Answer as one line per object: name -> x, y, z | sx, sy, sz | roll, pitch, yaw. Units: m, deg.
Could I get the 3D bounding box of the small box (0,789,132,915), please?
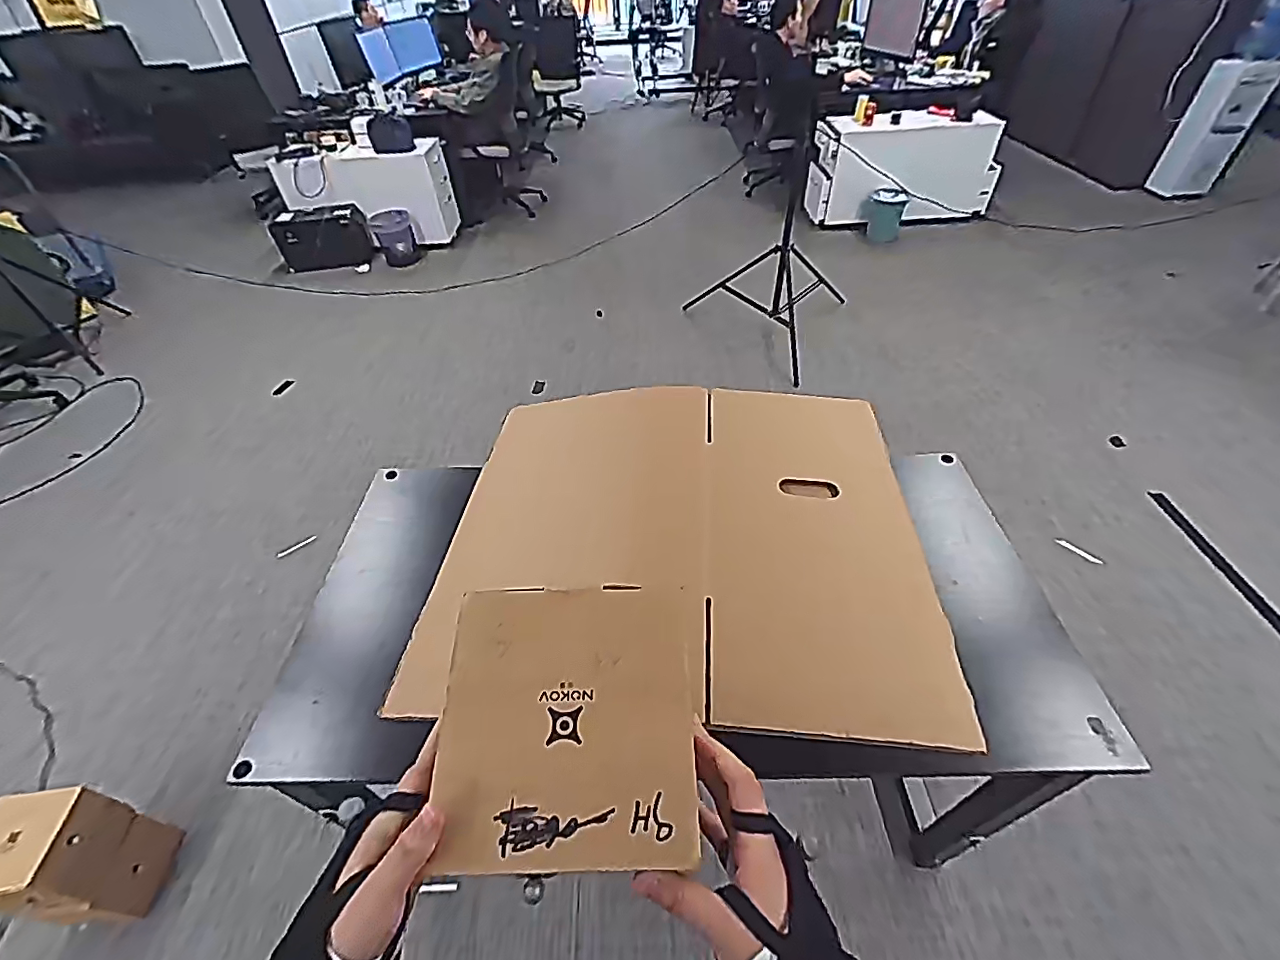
small box -> -1.203, 0.758, 1.096 | 0.168, 0.176, 0.179 | -6, 44, -4

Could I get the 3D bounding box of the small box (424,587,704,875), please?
small box -> -0.043, 0.199, 0.423 | 0.168, 0.176, 0.179 | -2, 55, 1

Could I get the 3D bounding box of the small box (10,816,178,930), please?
small box -> -1.194, 0.878, 1.206 | 0.168, 0.176, 0.179 | -5, 45, -1
